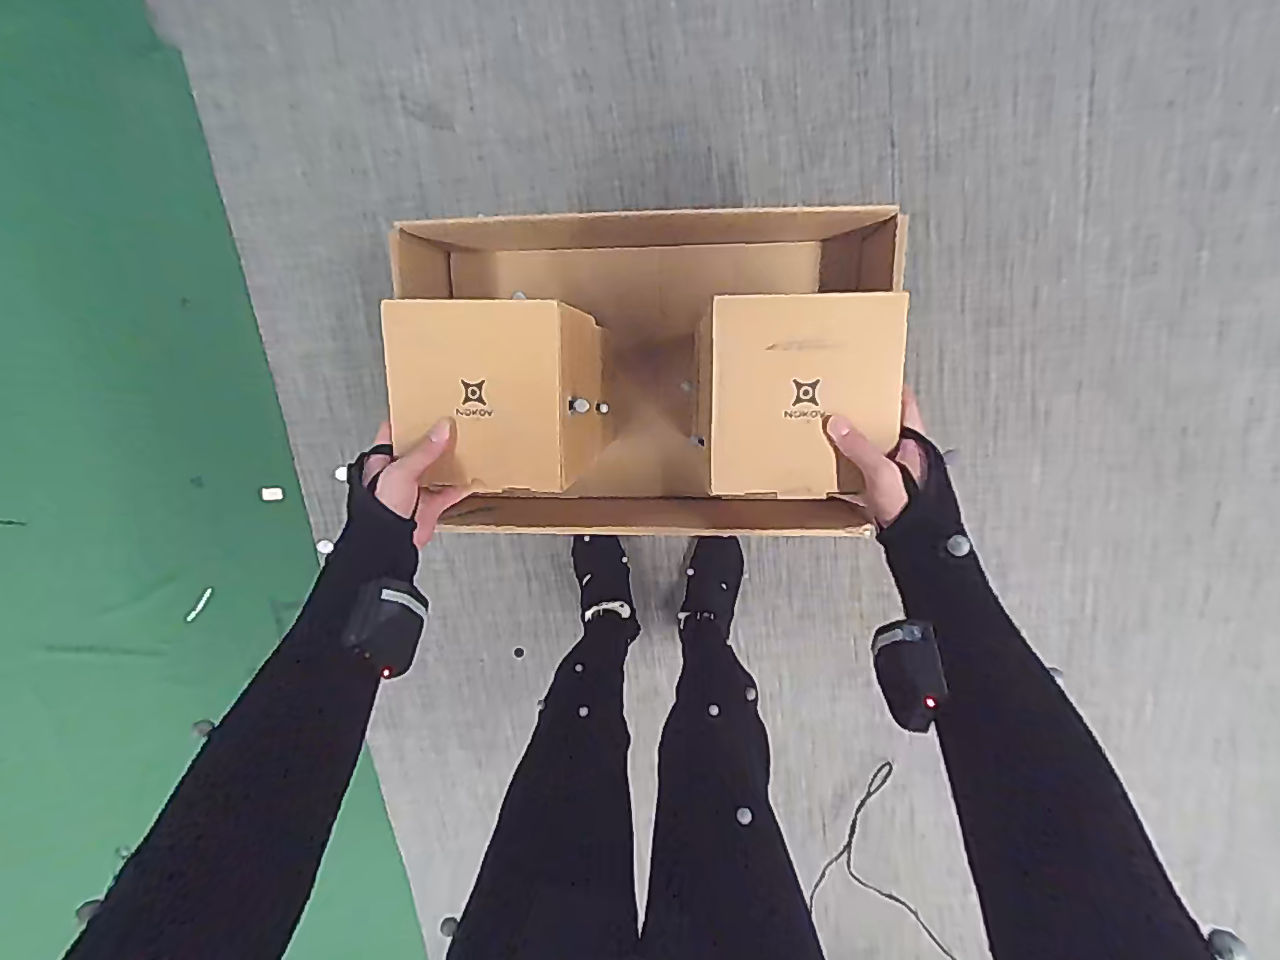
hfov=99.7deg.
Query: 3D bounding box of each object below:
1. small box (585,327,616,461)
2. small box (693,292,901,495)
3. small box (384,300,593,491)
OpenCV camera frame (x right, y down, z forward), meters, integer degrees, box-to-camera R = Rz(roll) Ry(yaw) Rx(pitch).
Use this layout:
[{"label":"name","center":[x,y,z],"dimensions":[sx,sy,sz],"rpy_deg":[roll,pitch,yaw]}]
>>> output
[{"label":"small box","center":[-0.134,-0.122,0.744],"dimensions":[0.179,0.176,0.168],"rpy_deg":[3,102,4]},{"label":"small box","center":[0.142,-0.085,0.551],"dimensions":[0.168,0.176,0.179],"rpy_deg":[0,98,3]},{"label":"small box","center":[-0.147,-0.092,0.582],"dimensions":[0.168,0.176,0.179],"rpy_deg":[1,102,6]}]
